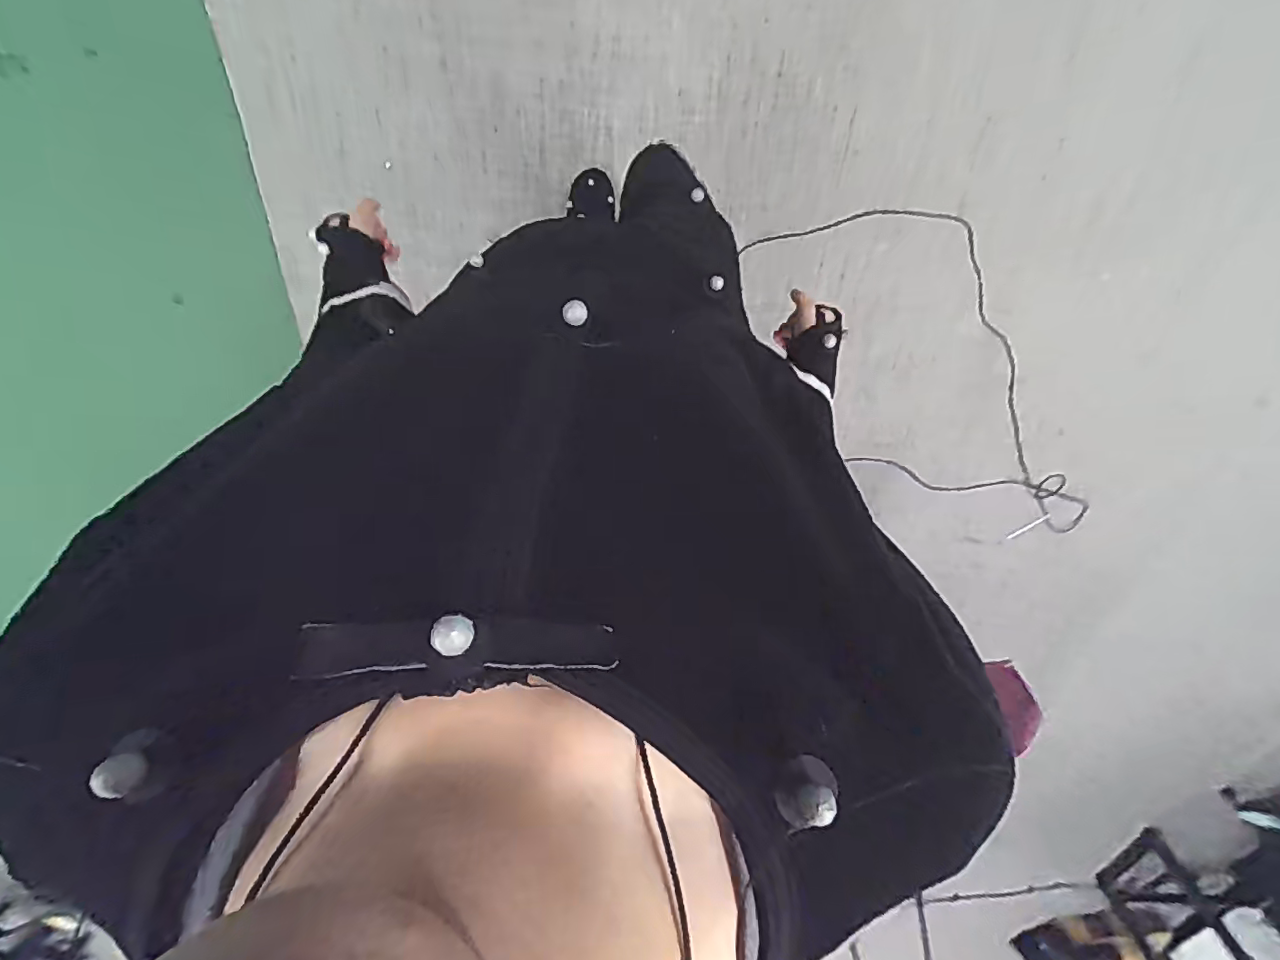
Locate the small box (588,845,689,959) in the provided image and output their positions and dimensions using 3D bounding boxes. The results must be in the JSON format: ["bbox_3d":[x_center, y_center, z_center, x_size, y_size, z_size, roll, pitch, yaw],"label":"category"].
[{"bbox_3d":[-0.006,0.833,1.044,0.179,0.176,0.168,3,123,-2],"label":"small box"}]
